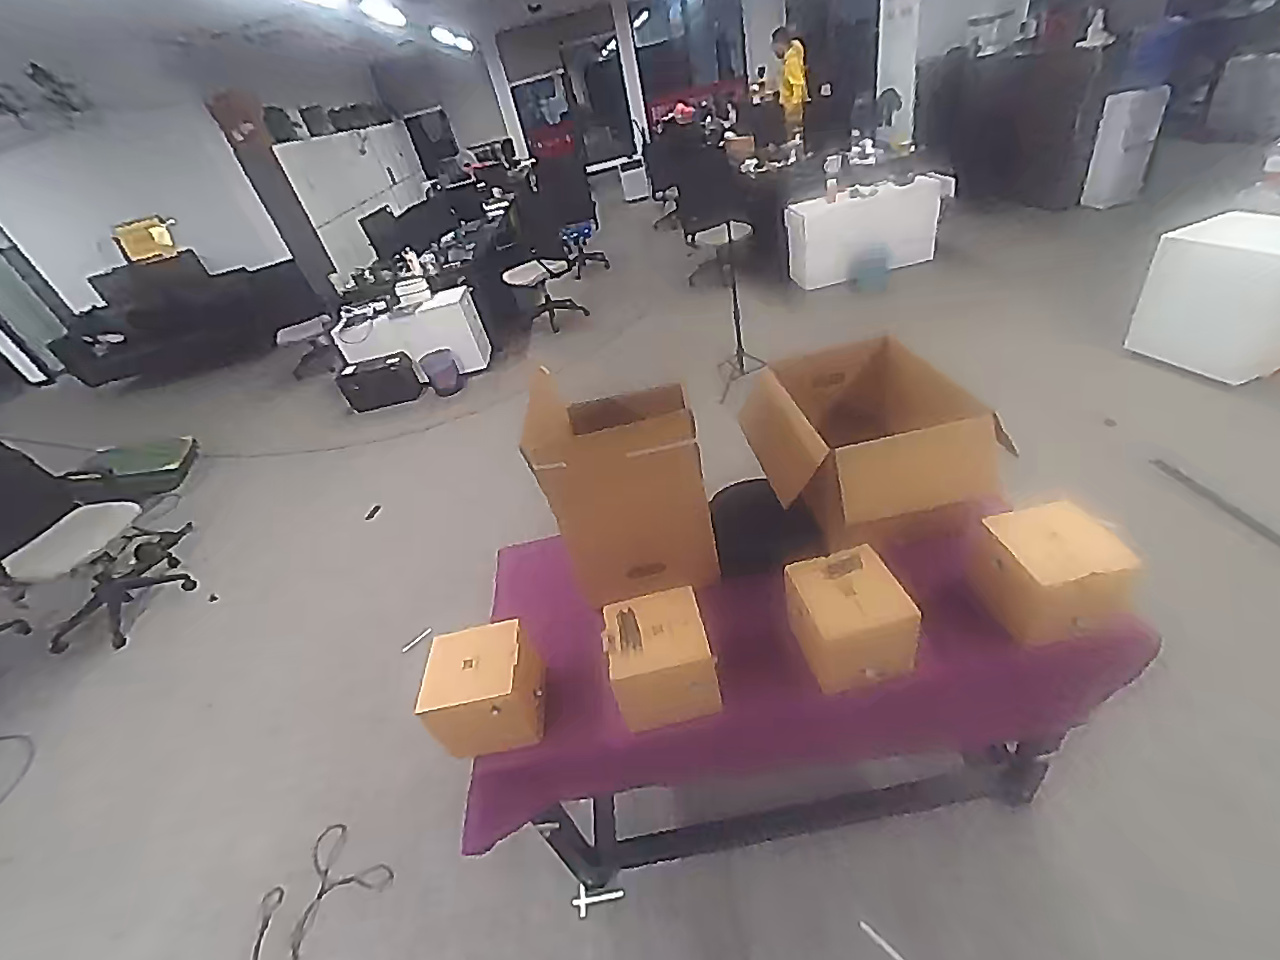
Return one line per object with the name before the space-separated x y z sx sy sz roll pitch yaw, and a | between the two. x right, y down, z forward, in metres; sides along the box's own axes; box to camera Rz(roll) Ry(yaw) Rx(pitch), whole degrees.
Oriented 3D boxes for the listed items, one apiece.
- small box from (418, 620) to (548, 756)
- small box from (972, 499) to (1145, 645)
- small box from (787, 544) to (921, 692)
small box | -0.287 0.398 1.029 0.179 0.176 0.168 -12 36 2
small box | 0.729 0.164 0.970 0.168 0.176 0.179 -14 36 4
small box | 0.379 0.250 0.986 0.168 0.176 0.179 -16 37 0
